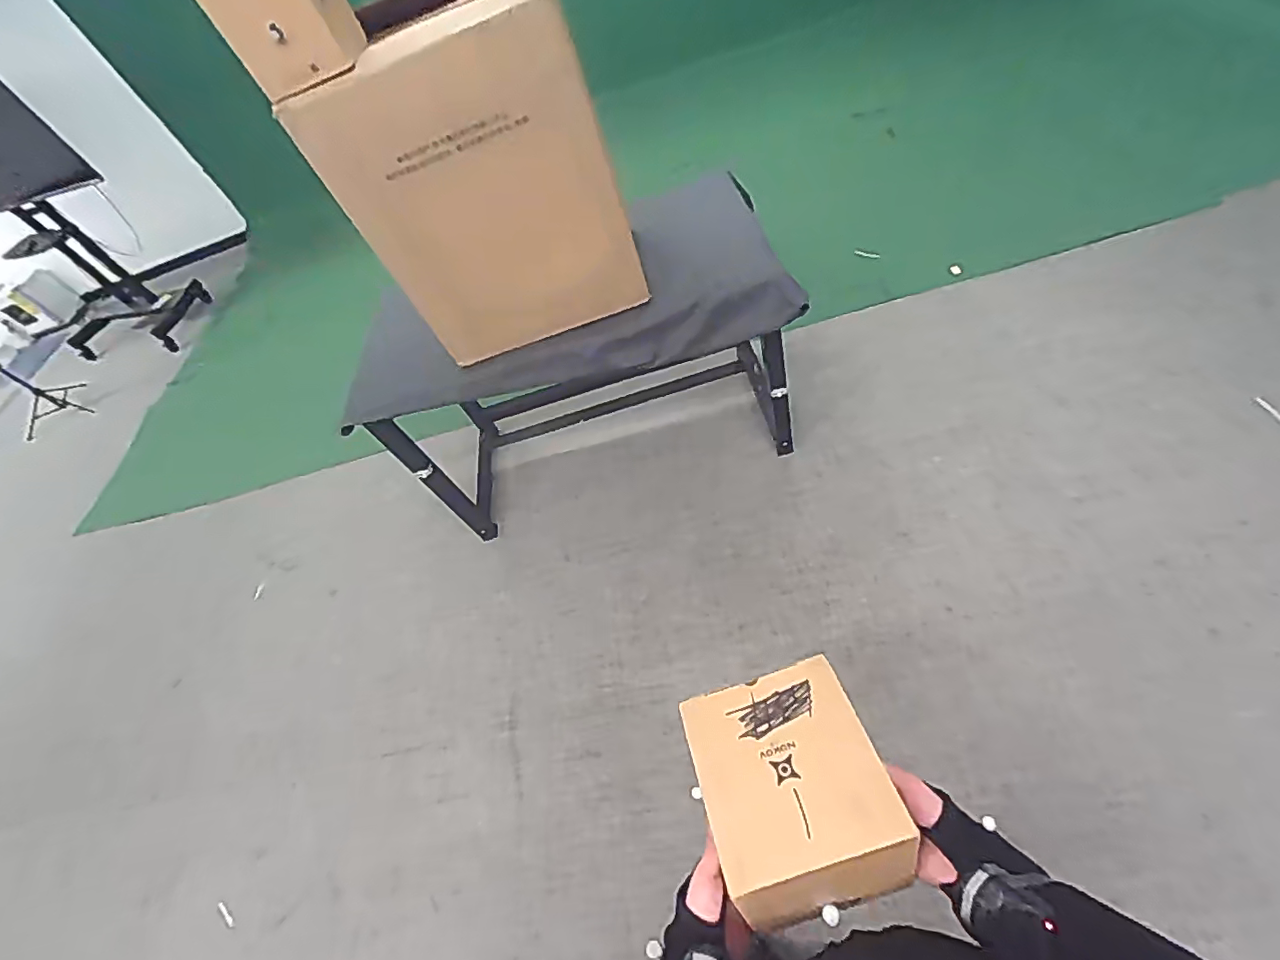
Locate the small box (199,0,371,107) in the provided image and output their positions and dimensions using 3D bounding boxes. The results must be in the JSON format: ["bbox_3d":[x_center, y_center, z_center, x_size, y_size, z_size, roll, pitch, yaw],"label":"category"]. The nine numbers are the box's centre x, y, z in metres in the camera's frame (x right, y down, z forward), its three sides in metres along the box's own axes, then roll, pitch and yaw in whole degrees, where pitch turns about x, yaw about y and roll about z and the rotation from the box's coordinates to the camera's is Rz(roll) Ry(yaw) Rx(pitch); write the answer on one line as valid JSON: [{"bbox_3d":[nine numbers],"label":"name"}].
[{"bbox_3d":[-0.604,-0.791,0.947,0.168,0.176,0.179,-17,52,8],"label":"small box"}]
